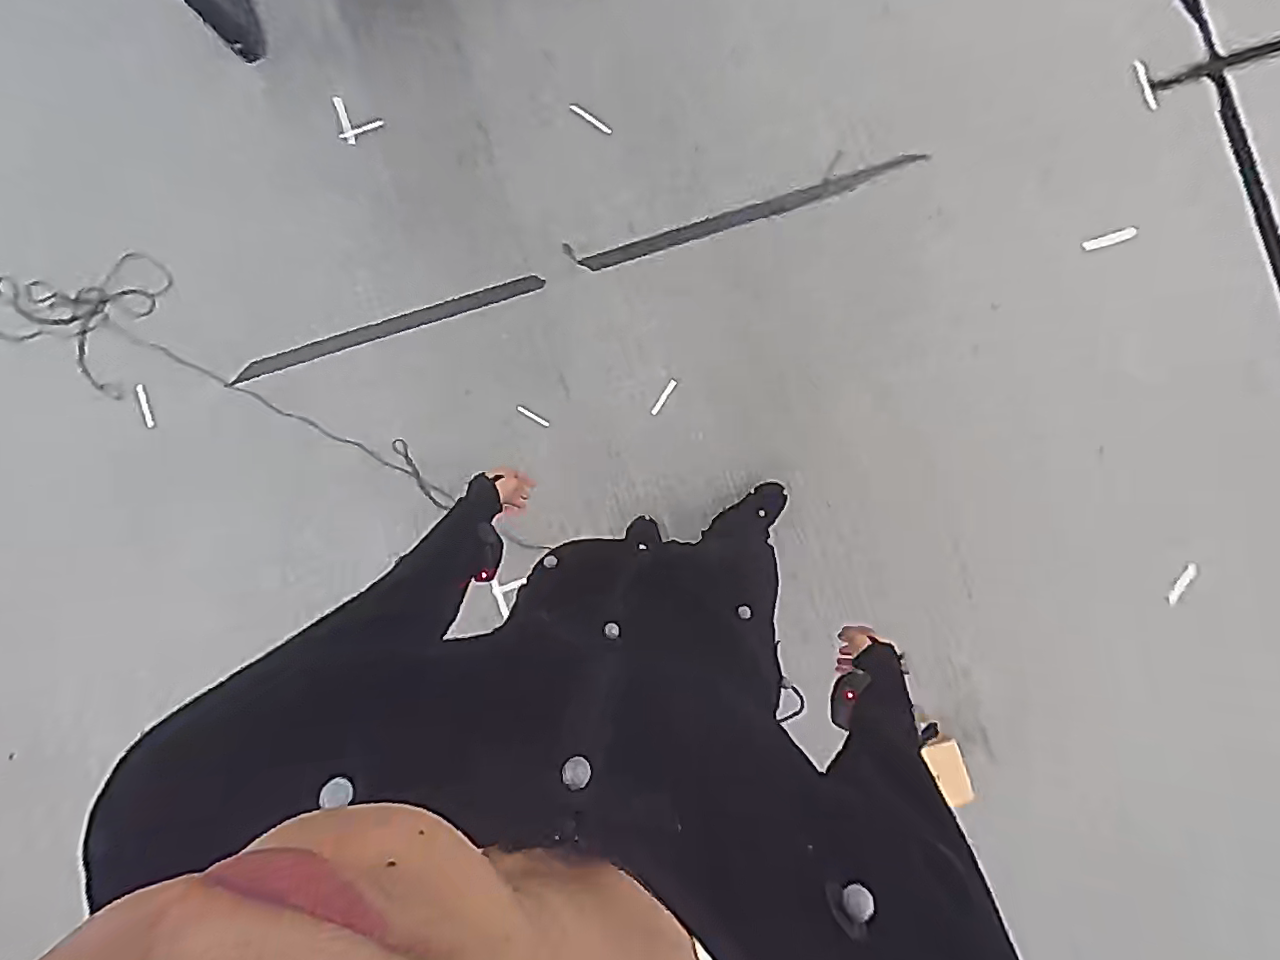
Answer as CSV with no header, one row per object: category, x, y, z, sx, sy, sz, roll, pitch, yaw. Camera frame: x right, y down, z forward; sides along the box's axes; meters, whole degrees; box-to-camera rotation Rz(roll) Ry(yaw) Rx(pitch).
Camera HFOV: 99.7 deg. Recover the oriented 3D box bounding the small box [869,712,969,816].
small box,0.776,0.790,1.518,0.168,0.176,0.179,-18,90,1
